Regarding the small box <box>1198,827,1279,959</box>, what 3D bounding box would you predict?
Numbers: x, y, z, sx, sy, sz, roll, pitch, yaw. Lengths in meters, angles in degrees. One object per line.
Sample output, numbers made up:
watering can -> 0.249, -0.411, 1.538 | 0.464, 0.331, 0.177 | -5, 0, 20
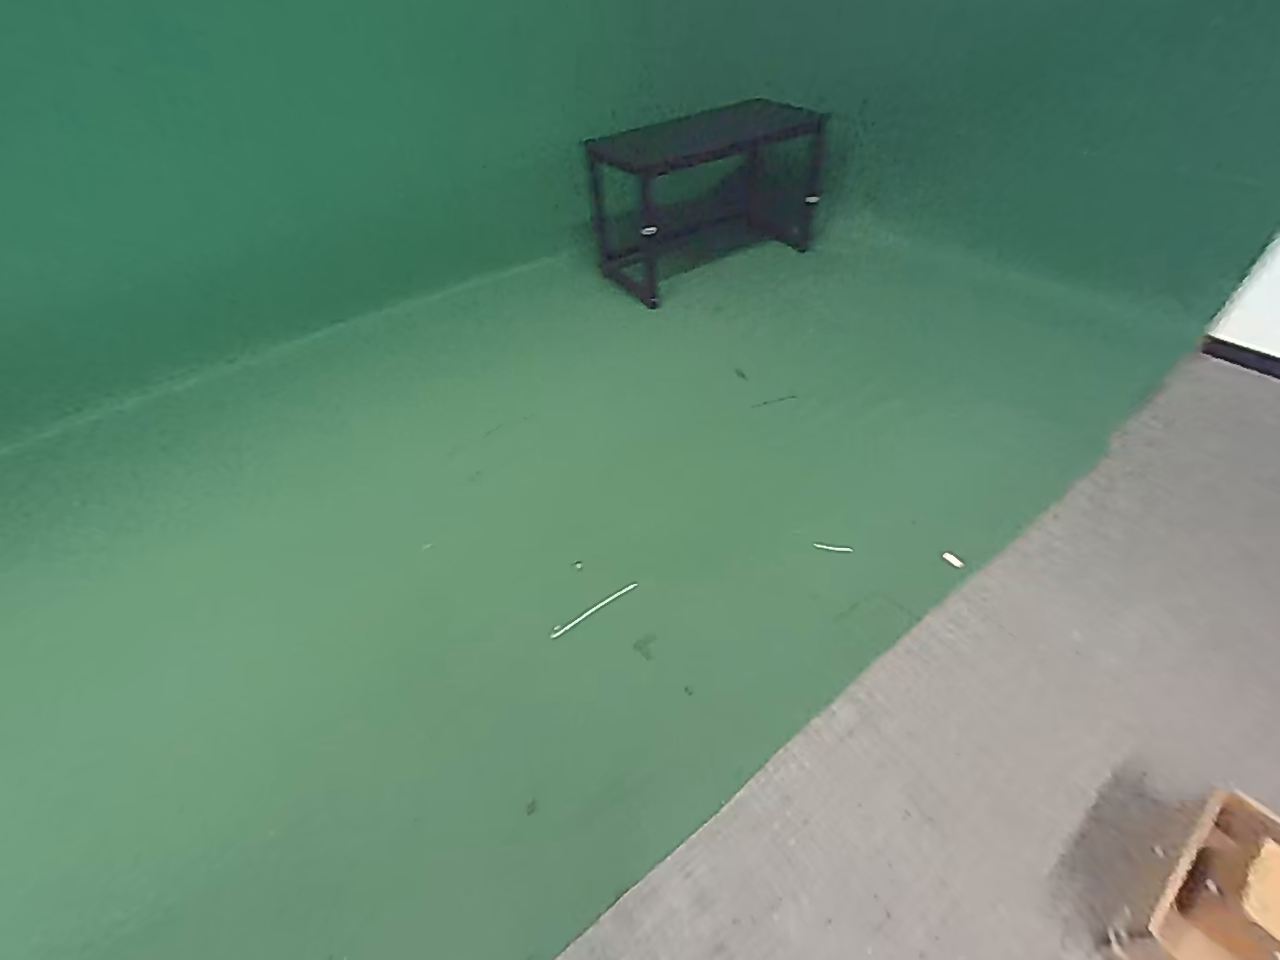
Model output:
small box -> 1.214, 0.798, 1.005 | 0.168, 0.176, 0.179 | -37, 54, -23
